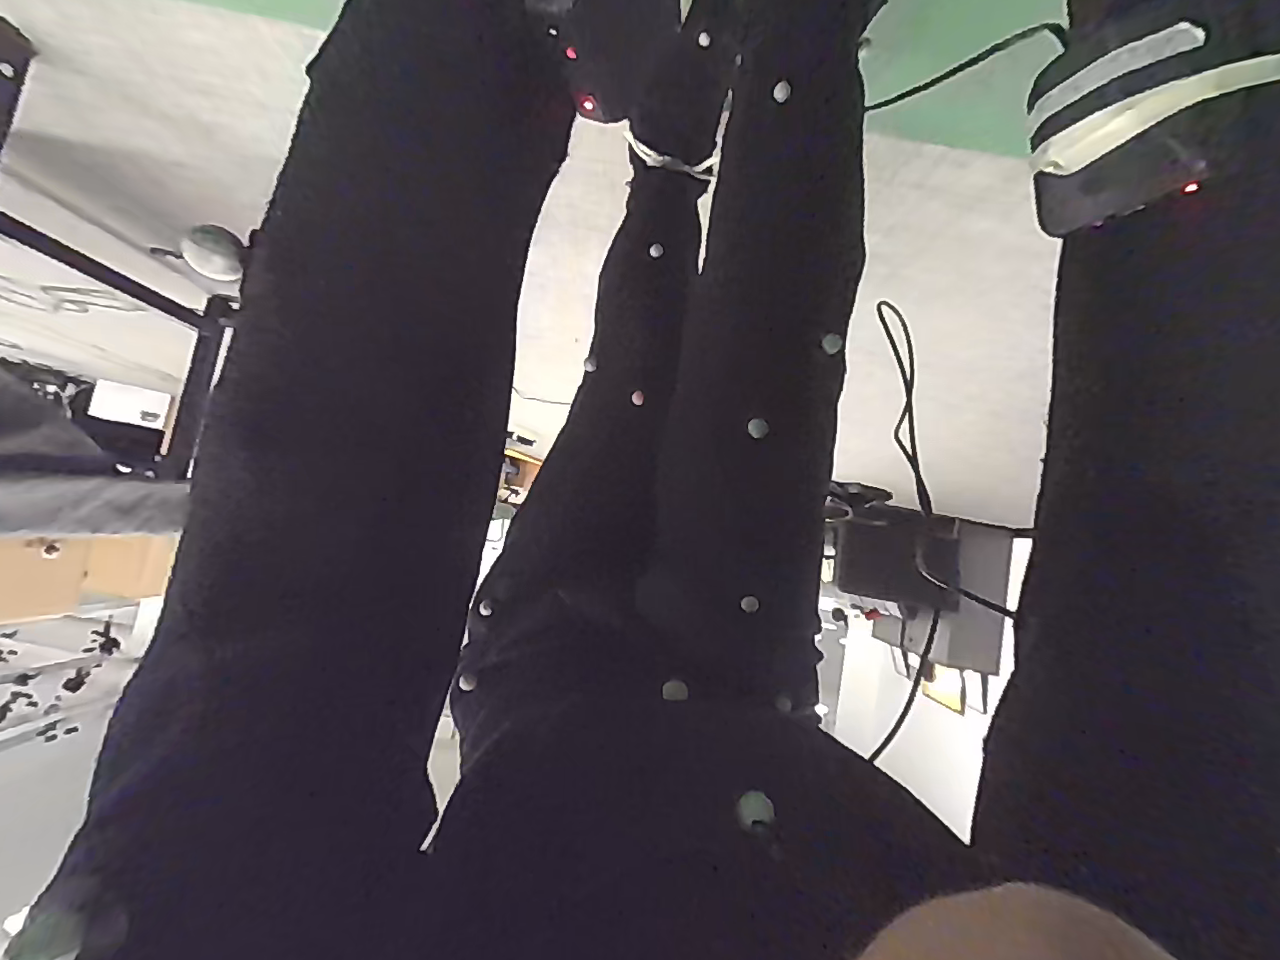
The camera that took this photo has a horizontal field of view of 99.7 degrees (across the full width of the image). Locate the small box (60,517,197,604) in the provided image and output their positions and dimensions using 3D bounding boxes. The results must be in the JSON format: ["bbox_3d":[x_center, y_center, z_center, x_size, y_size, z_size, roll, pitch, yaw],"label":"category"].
[{"bbox_3d":[-1.198,0.184,1.278,0.179,0.176,0.168,10,175,4],"label":"small box"}]

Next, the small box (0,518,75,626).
[{"bbox_3d":[-1.169,0.158,0.955,0.179,0.176,0.168,9,176,5],"label":"small box"}]
